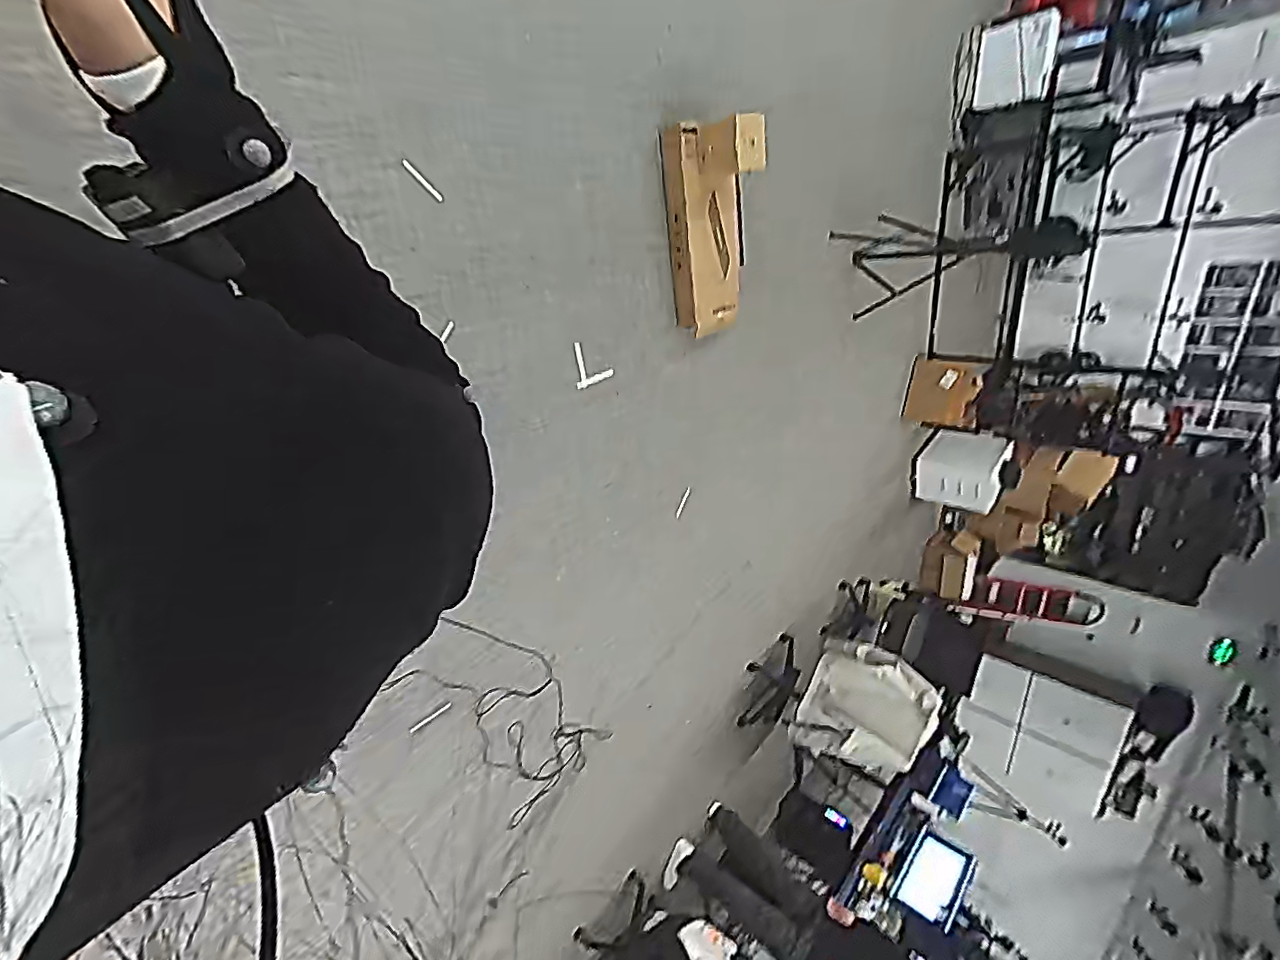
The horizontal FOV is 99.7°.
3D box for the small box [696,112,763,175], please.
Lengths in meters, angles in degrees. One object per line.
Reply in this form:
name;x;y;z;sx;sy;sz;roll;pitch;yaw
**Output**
small box;0.320;-1.191;1.920;0.179;0.176;0.168;-30;123;-37
